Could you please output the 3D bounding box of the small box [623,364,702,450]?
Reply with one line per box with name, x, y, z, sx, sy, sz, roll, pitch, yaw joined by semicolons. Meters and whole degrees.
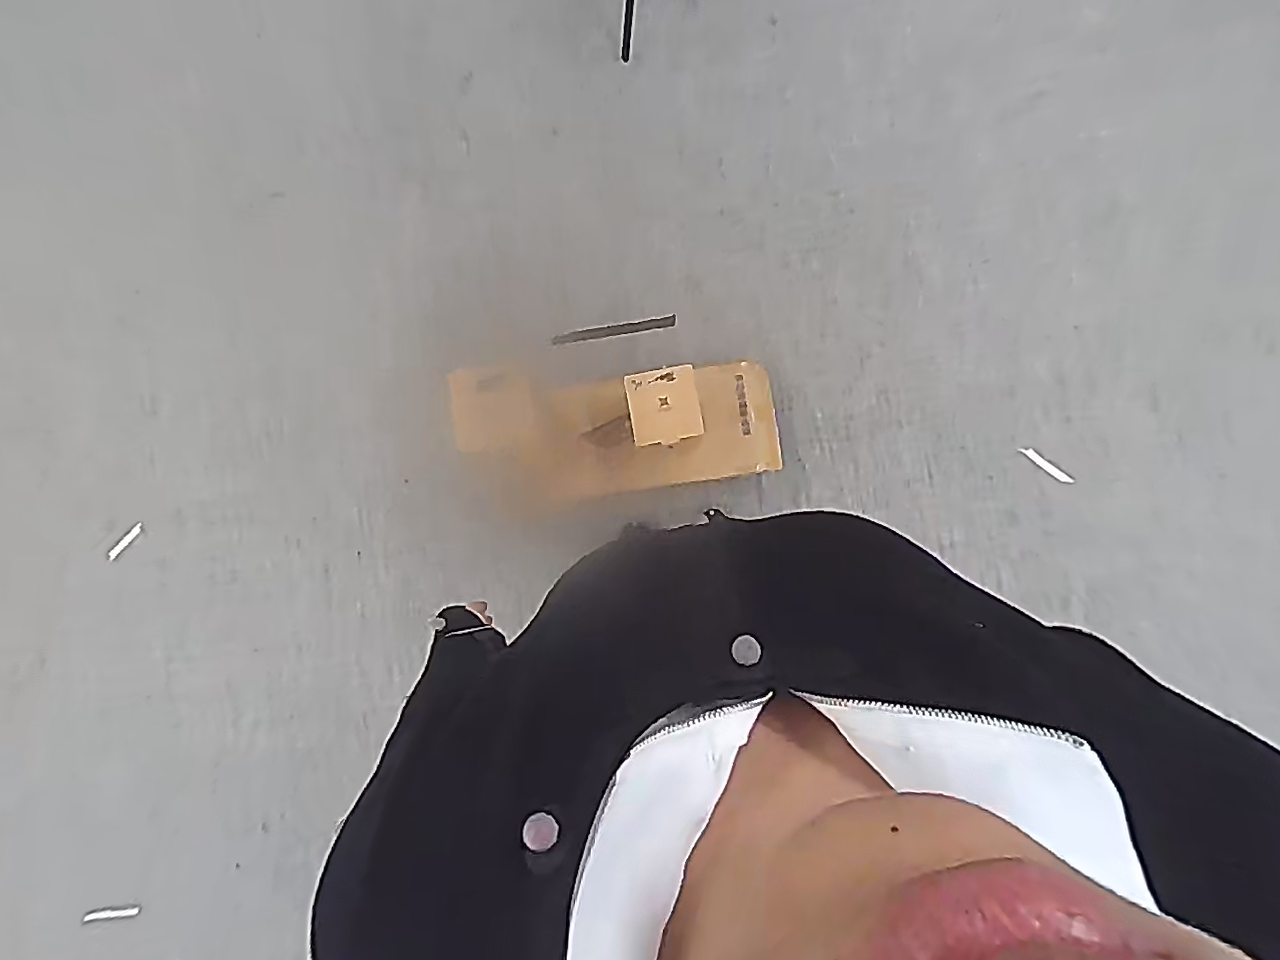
small box;0.059;-0.173;1.345;0.168;0.176;0.179;-9;86;3
